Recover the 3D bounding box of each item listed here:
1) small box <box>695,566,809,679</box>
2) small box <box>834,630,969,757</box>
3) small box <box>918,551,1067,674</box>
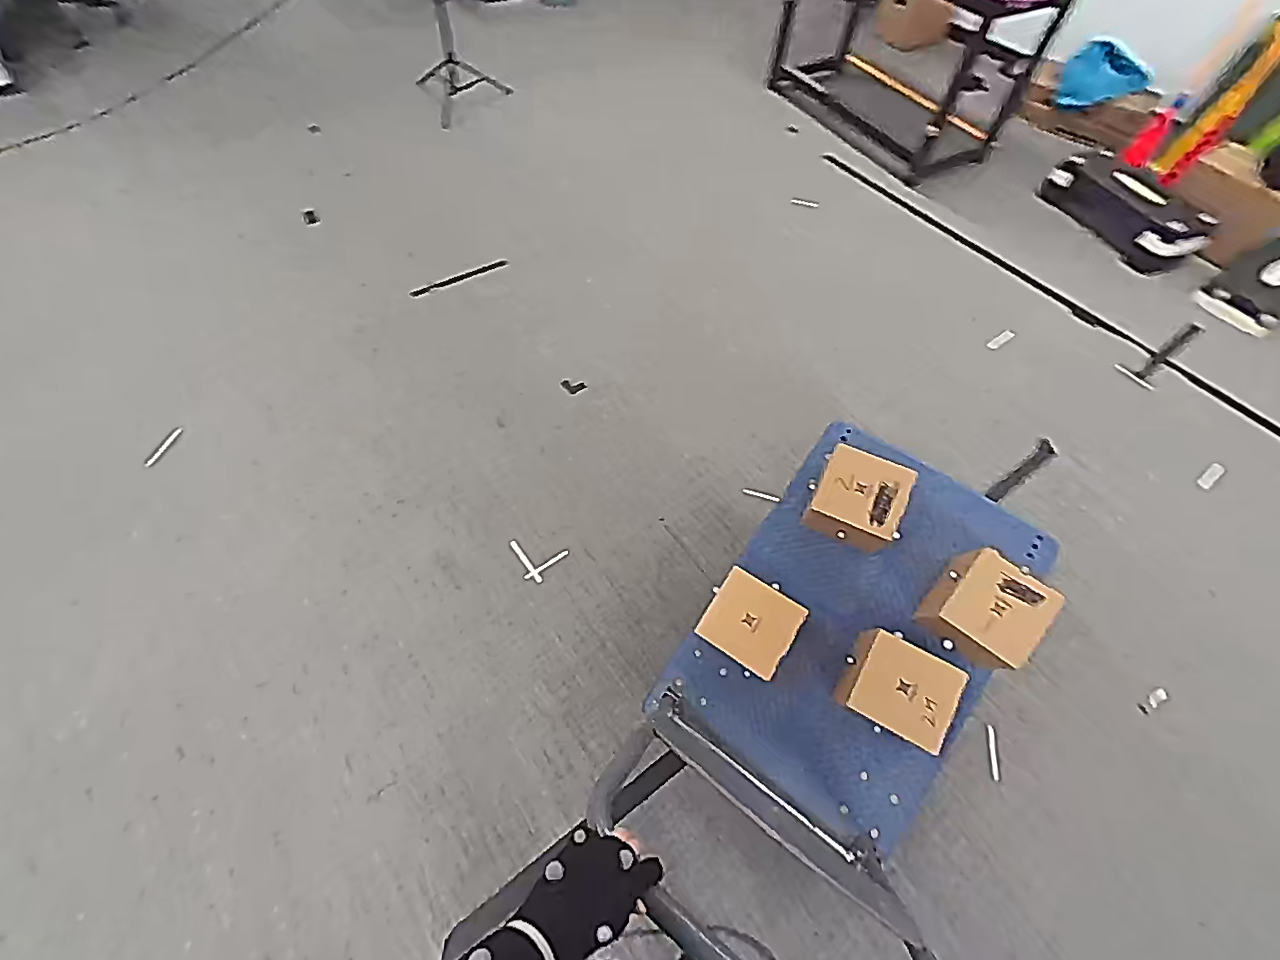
[{"bbox_3d":[0.236,0.311,1.175,0.179,0.176,0.168,32,80,15],"label":"small box"},{"bbox_3d":[0.517,0.425,1.096,0.179,0.176,0.168,27,79,16],"label":"small box"},{"bbox_3d":[0.710,0.272,1.114,0.168,0.176,0.179,38,83,18],"label":"small box"}]
